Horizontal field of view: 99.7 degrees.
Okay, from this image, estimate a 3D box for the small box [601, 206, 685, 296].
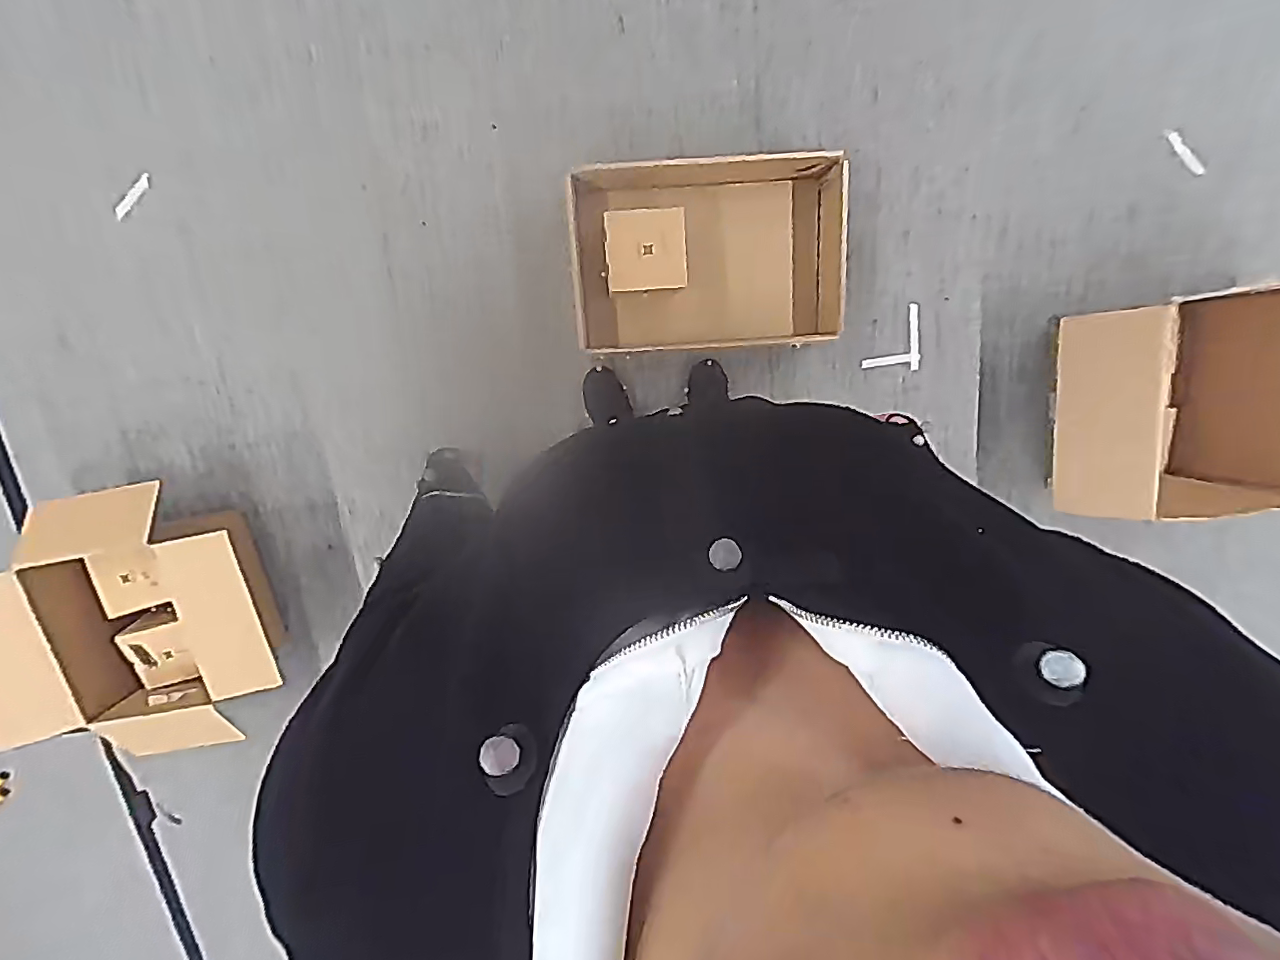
[{"bbox_3d":[0.004,-0.523,1.253,0.179,0.176,0.168,-5,105,-3],"label":"small box"}]
